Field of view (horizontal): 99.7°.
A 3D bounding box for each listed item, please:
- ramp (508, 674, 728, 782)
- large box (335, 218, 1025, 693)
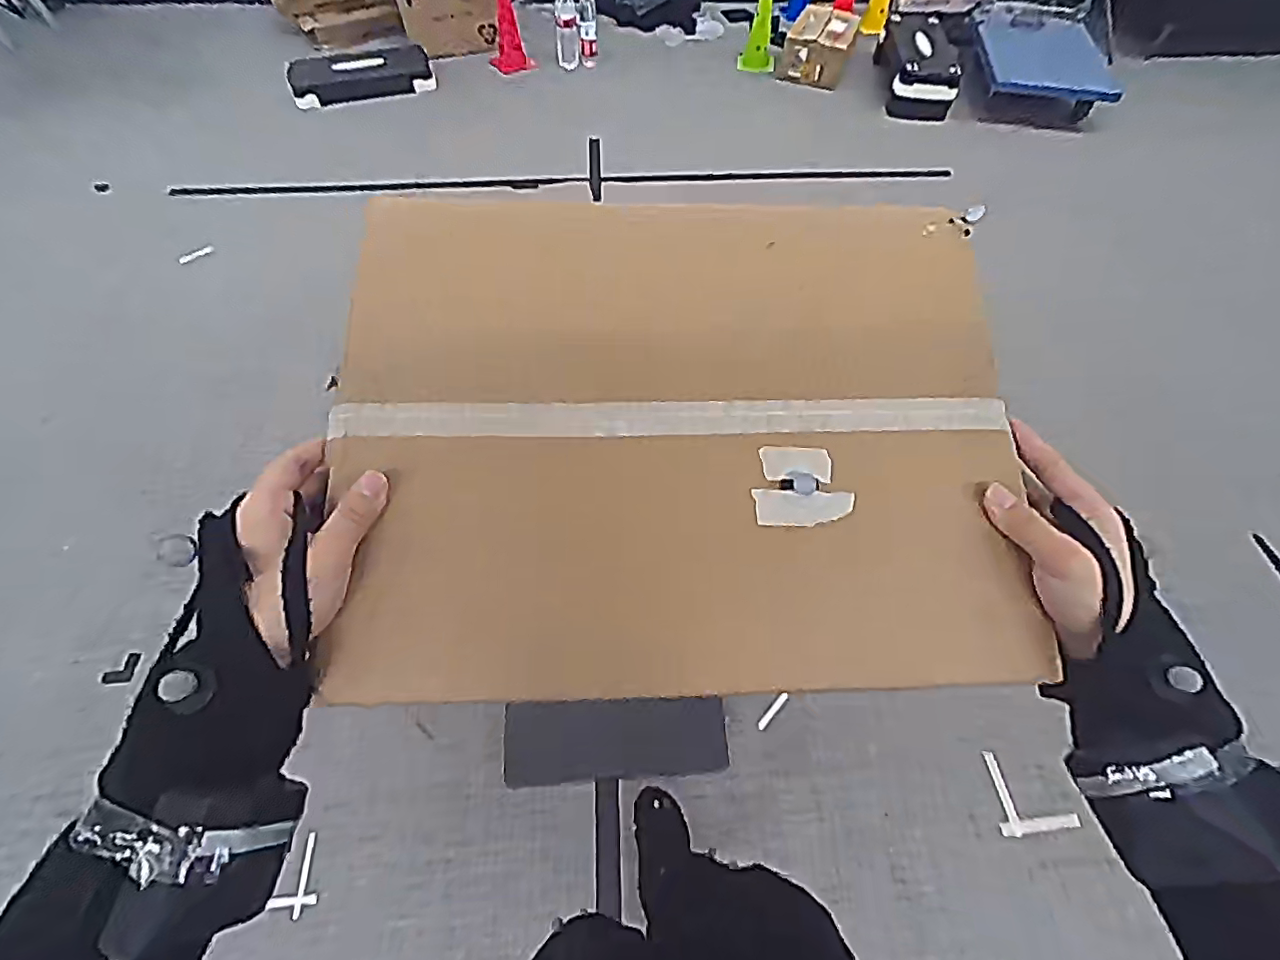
[{"bbox_3d":[-0.073,0.177,1.356,0.509,0.206,0.991,-4,59,-4],"label":"ramp"},{"bbox_3d":[0.015,0.001,0.487,0.408,0.320,0.320,-1,75,-3],"label":"large box"}]
